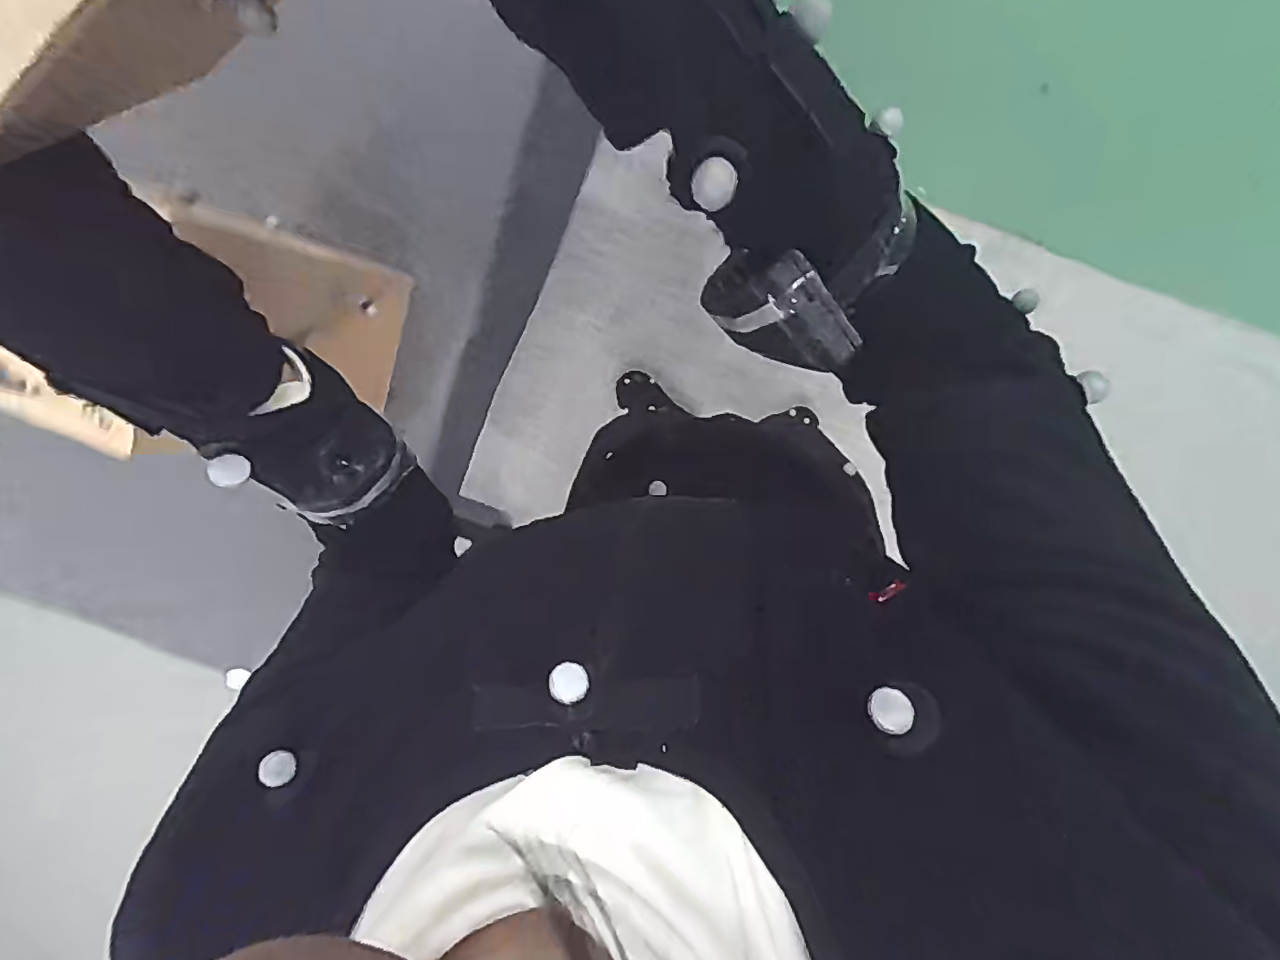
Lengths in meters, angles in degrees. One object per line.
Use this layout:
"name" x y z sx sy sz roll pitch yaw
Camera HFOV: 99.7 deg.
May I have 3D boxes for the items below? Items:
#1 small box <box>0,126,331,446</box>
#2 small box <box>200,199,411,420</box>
"small box" -0.394 -0.147 0.448 0.168 0.176 0.179 22 103 2
"small box" -0.384 -0.184 0.608 0.168 0.176 0.179 19 105 2
